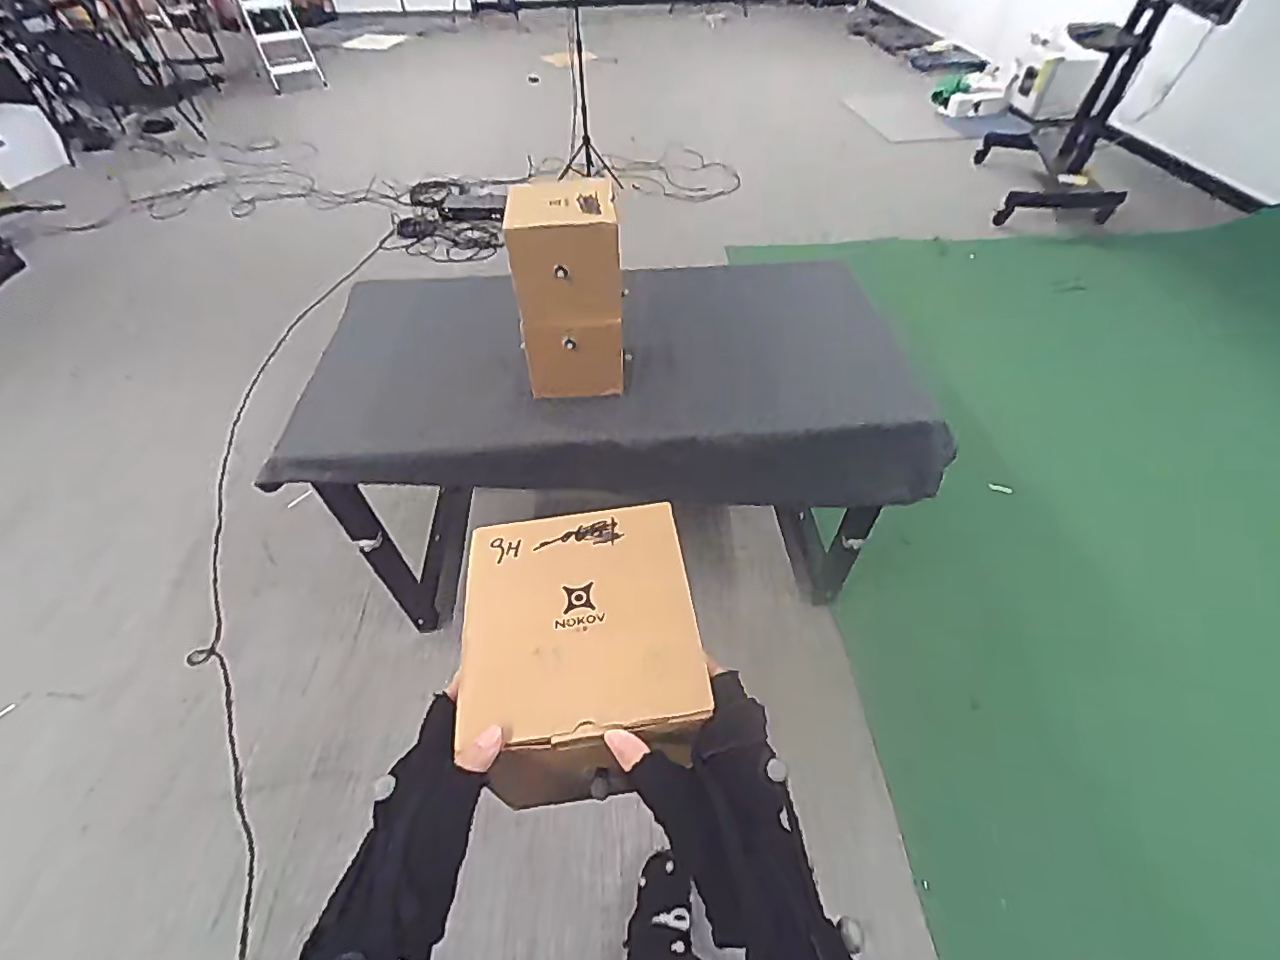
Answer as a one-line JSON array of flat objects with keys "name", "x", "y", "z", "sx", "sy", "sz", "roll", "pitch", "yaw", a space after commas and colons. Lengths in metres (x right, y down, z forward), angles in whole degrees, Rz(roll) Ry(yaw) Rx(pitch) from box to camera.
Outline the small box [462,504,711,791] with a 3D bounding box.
[{"name": "small box", "x": -0.038, "y": 0.147, "z": 0.457, "sx": 0.168, "sy": 0.176, "sz": 0.179, "roll": -8, "pitch": 50, "yaw": -3}]

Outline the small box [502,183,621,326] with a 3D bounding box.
[{"name": "small box", "x": -0.124, "y": -0.380, "z": 0.919, "sx": 0.179, "sy": 0.176, "sz": 0.168, "roll": -5, "pitch": 50, "yaw": -2}]

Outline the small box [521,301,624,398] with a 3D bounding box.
[{"name": "small box", "x": -0.122, "y": -0.270, "z": 1.042, "sx": 0.179, "sy": 0.176, "sz": 0.168, "roll": -2, "pitch": 50, "yaw": -3}]
